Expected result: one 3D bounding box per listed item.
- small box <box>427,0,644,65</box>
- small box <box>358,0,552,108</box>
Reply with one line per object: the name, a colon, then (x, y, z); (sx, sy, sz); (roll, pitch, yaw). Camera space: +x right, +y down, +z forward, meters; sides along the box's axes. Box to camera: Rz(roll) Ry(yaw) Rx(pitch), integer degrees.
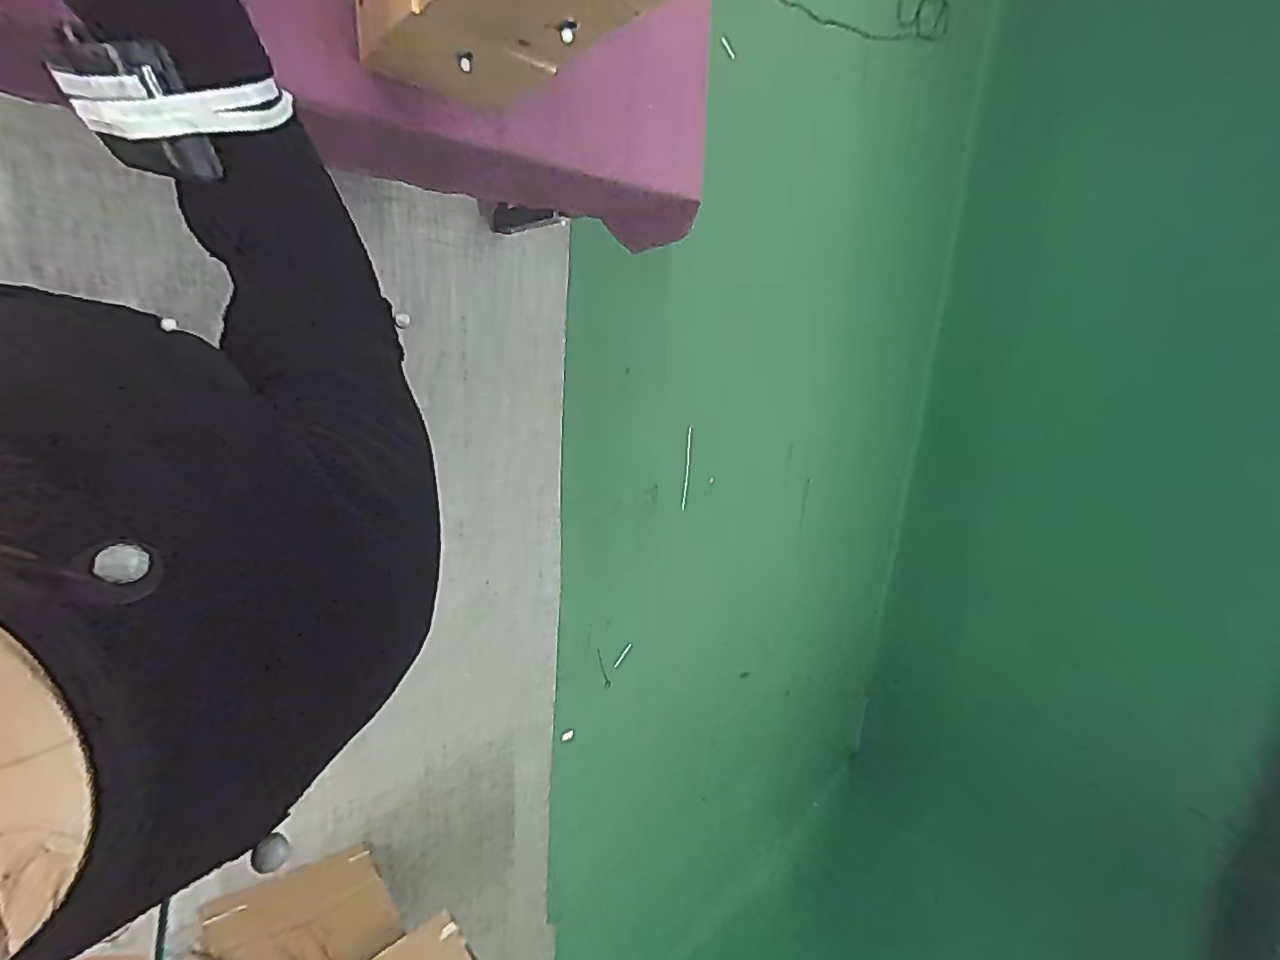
small box: (-0.110, -0.544, 0.520); (0.168, 0.176, 0.179); (-13, 110, -42)
small box: (-0.221, -0.571, 0.635); (0.179, 0.176, 0.168); (-10, 109, -42)
